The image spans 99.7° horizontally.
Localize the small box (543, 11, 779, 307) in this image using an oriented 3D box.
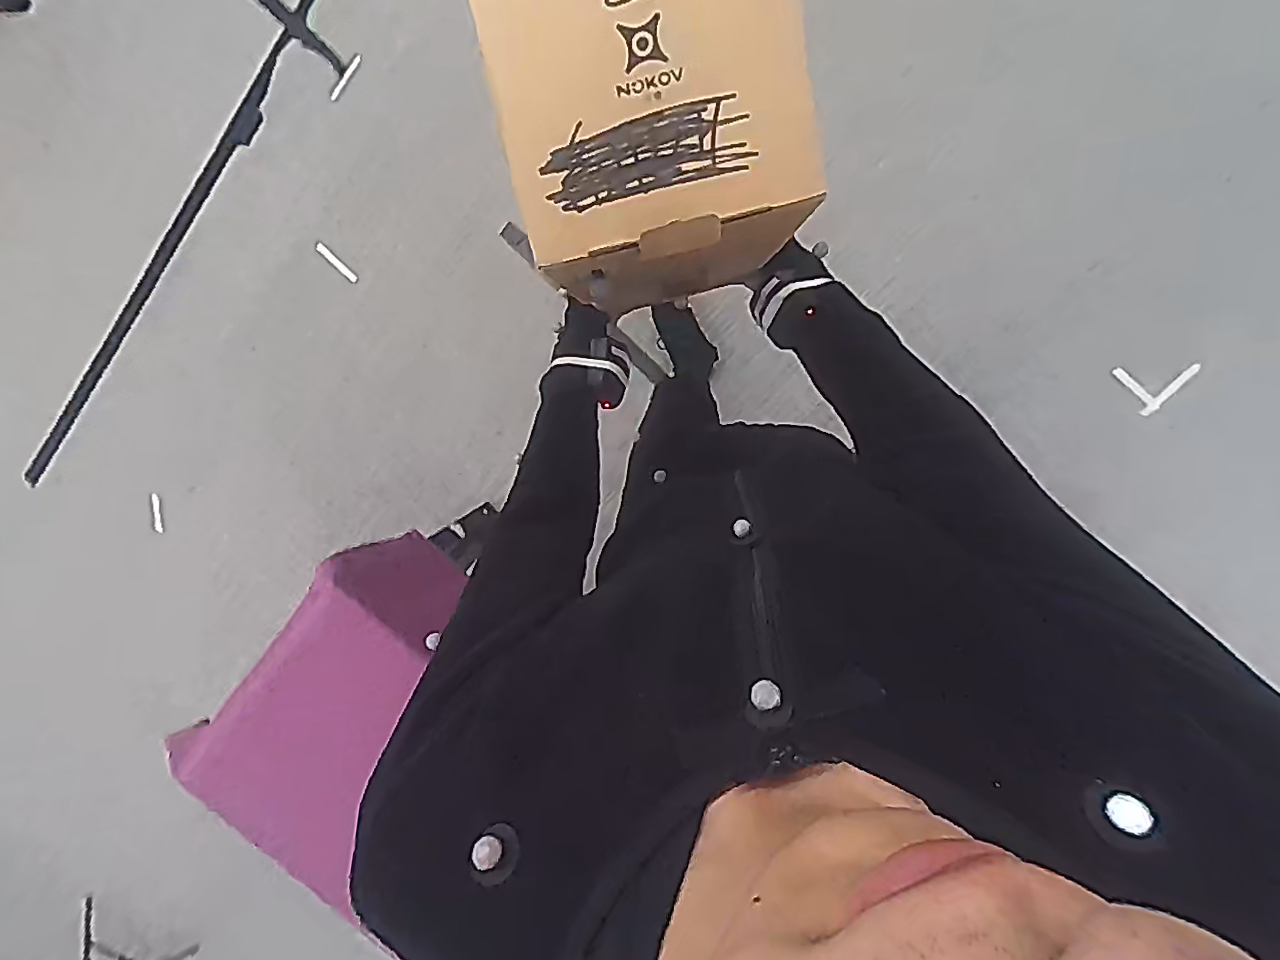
[{"bbox_3d":[0.022,-0.278,0.514,0.168,0.176,0.179,-12,102,6],"label":"small box"}]
